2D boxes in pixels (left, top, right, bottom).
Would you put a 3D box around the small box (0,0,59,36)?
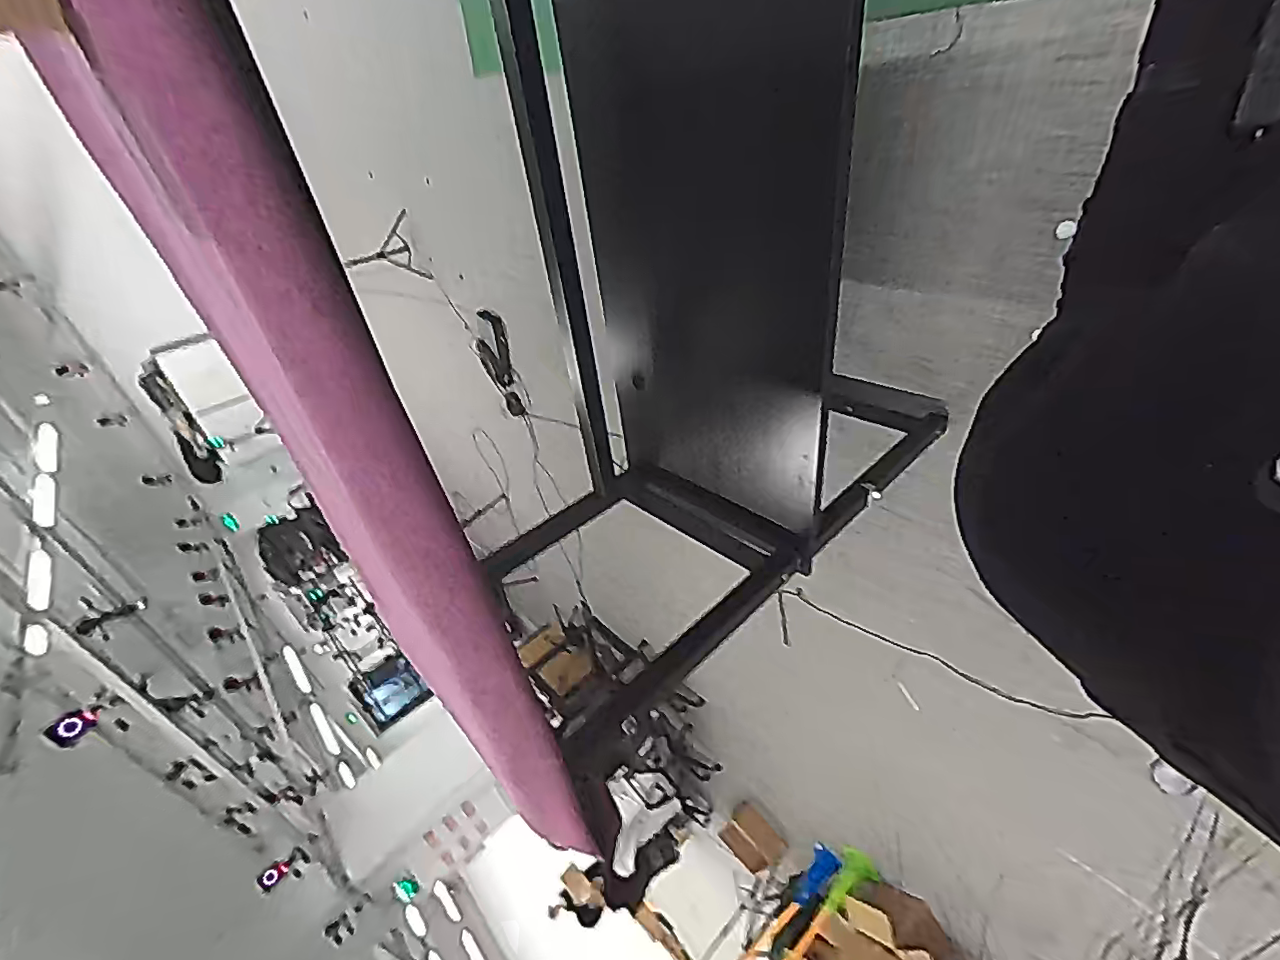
[{"bbox_3d":[-0.454,-0.337,0.269,0.179,0.176,0.168,29,140,43],"label":"small box"}]
